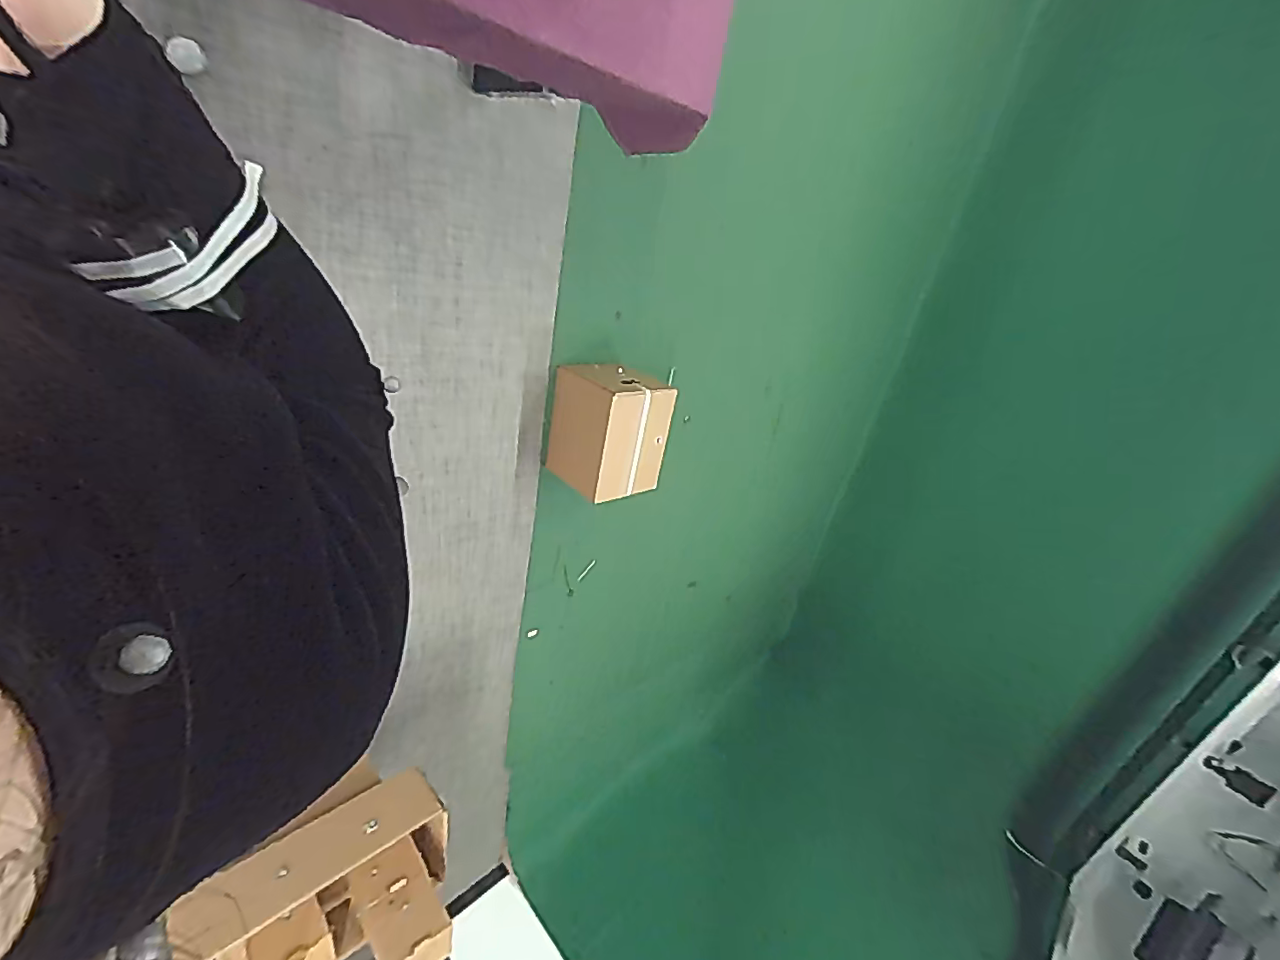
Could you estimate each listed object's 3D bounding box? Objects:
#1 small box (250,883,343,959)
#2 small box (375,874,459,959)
[{"bbox_3d":[-0.907,1.229,1.432,0.168,0.176,0.179,-17,127,-42],"label":"small box"},{"bbox_3d":[-0.619,1.254,1.500,0.168,0.176,0.179,-15,127,-42],"label":"small box"}]
